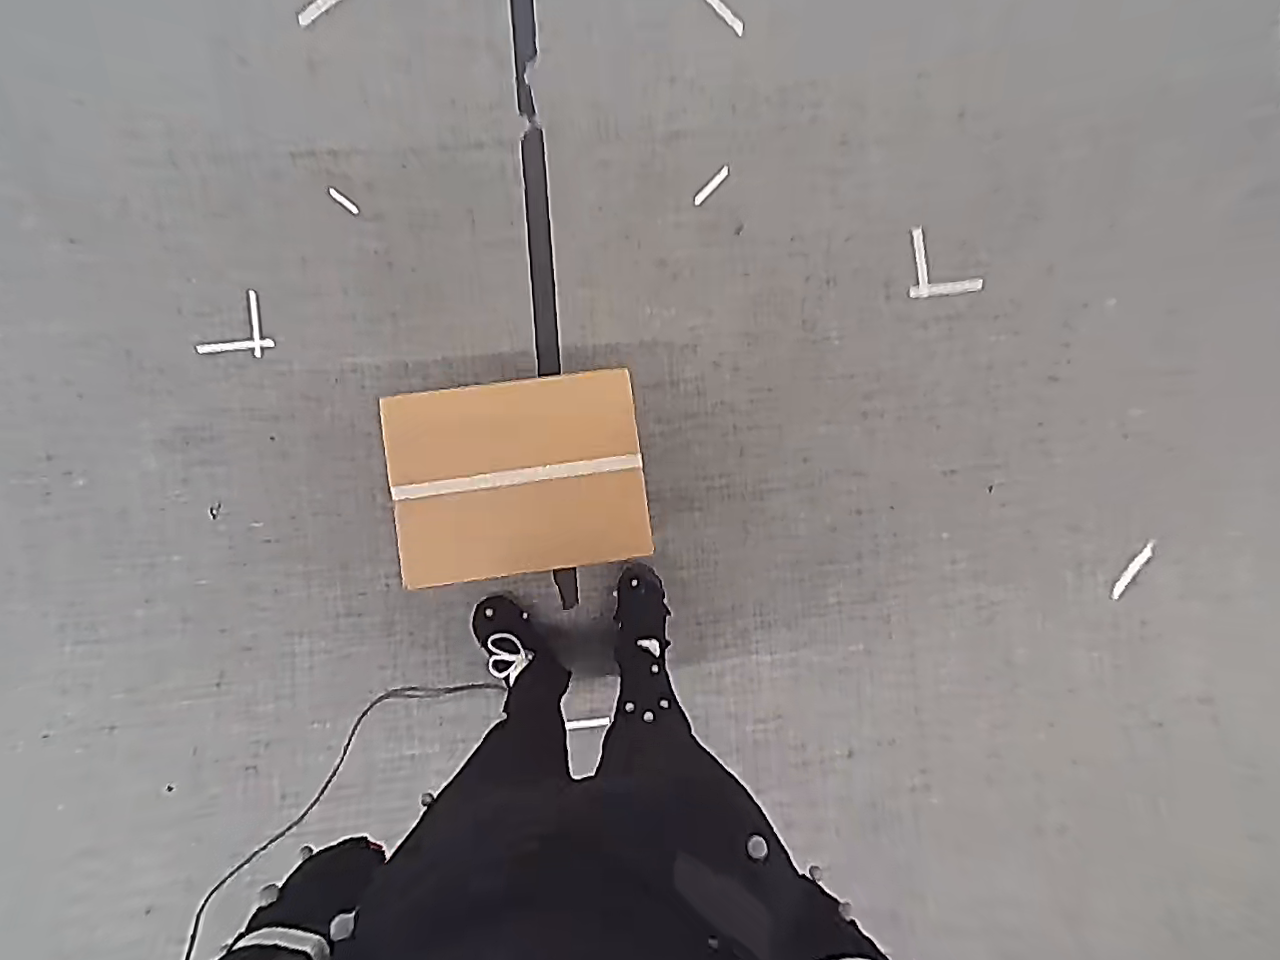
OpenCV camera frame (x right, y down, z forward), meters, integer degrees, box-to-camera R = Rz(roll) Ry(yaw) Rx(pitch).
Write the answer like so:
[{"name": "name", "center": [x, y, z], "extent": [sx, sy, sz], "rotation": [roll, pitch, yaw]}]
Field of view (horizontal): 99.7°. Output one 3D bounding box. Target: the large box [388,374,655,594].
[{"name": "large box", "center": [-0.201, 0.007, 1.029], "extent": [0.408, 0.320, 0.320], "rotation": [-8, 90, -3]}]
